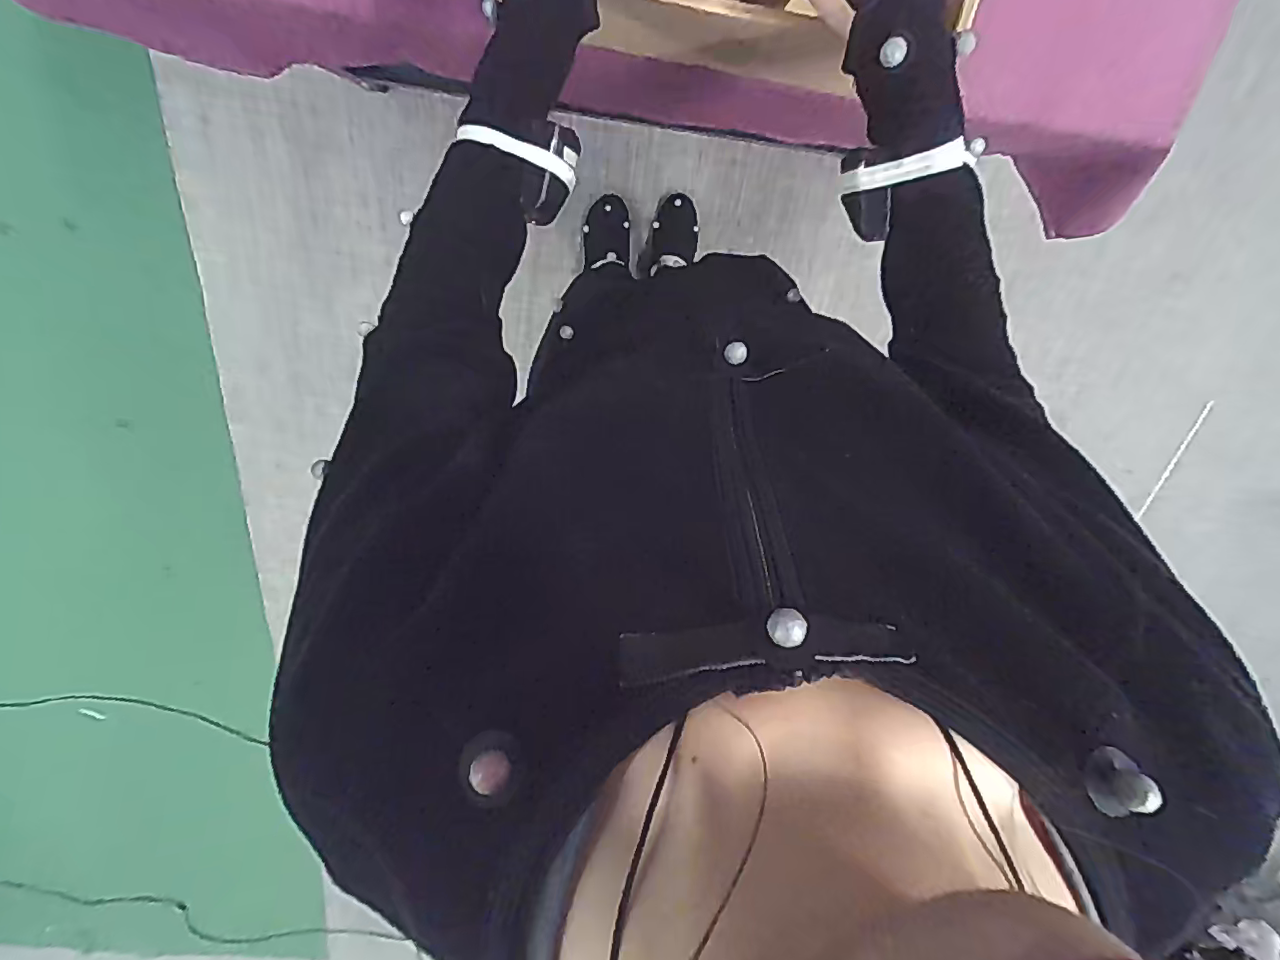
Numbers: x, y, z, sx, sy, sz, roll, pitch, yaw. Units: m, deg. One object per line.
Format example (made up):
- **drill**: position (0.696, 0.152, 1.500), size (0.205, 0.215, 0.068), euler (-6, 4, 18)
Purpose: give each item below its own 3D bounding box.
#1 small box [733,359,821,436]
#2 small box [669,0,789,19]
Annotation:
- **small box**: position (0.351, -0.218, 1.424), size (0.179, 0.176, 0.168), euler (1, 116, -3)
- **small box**: position (0.065, -0.488, 0.401), size (0.168, 0.176, 0.179), euler (7, 117, -4)
